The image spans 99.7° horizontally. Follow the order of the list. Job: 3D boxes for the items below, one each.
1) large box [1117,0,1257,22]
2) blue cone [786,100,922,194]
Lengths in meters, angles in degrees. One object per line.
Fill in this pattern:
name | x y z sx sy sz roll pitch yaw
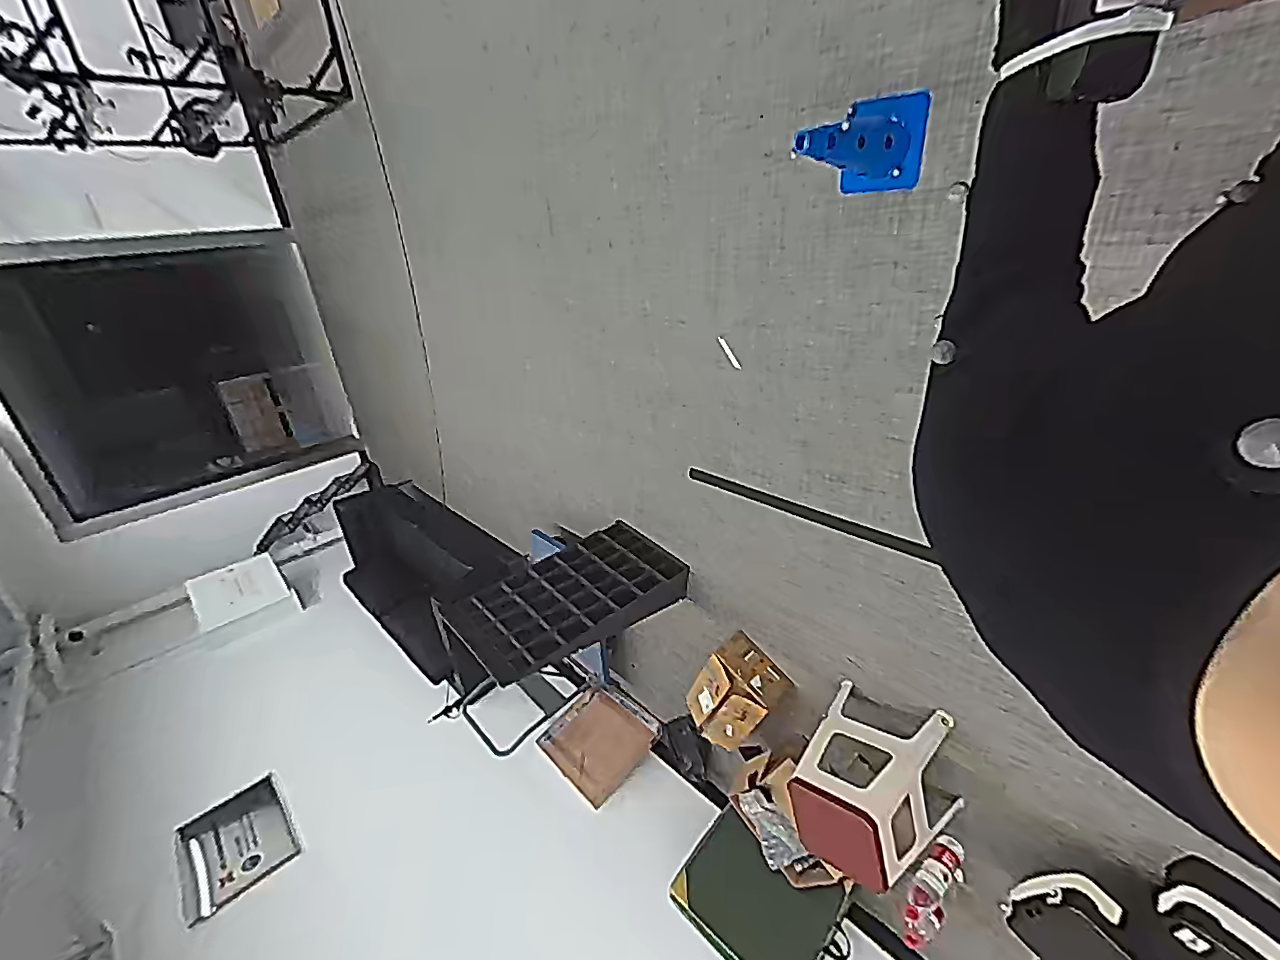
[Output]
large box | 0.511 -0.478 0.237 0.408 0.320 0.320 14 127 45
blue cone | 0.464 -0.757 1.230 0.192 0.380 0.193 26 129 42
